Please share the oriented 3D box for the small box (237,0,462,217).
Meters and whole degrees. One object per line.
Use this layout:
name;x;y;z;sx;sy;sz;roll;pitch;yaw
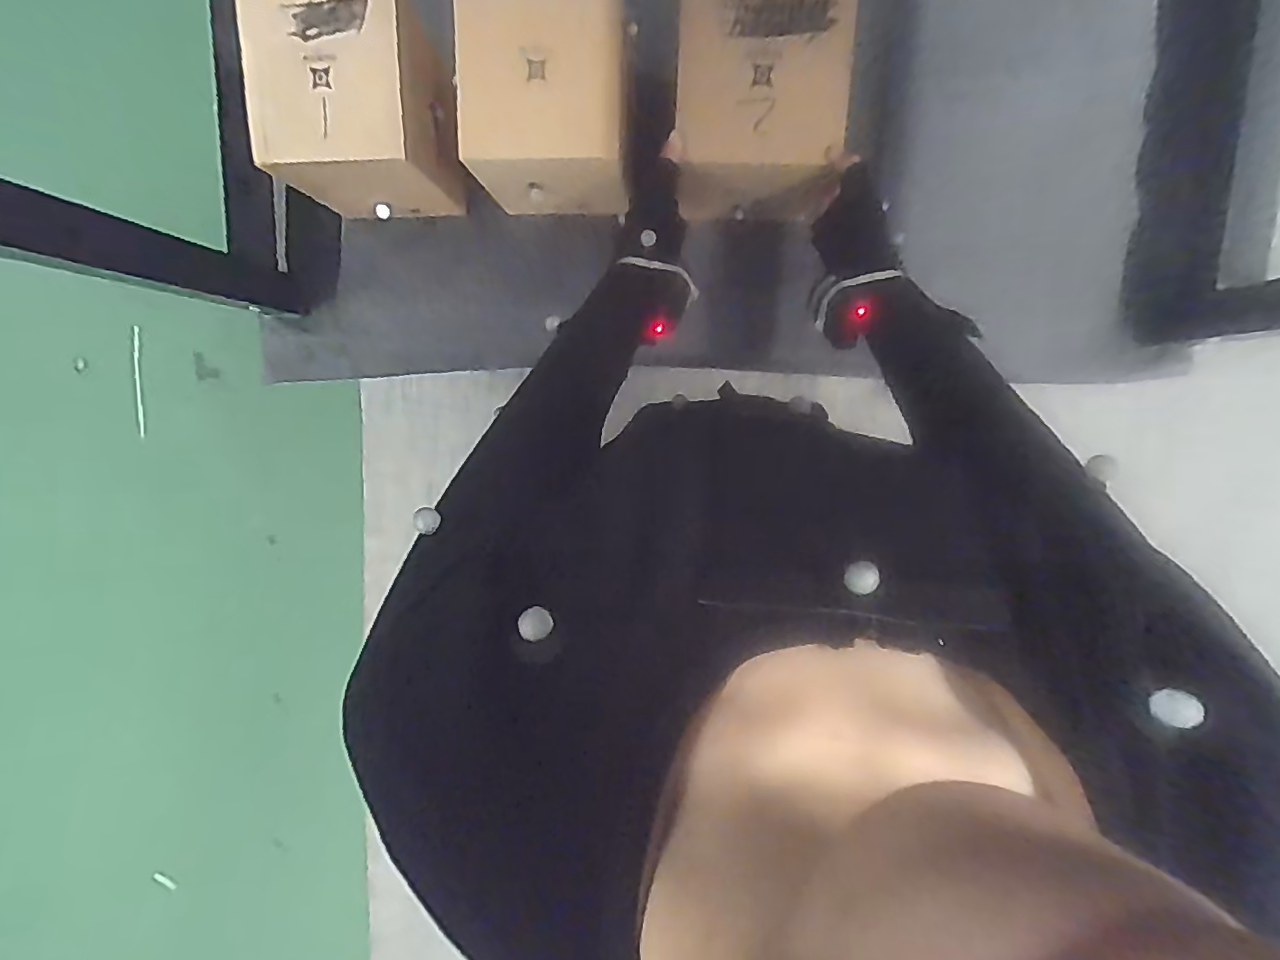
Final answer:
small box;-0.316;-0.423;0.622;0.168;0.176;0.179;1;98;4
